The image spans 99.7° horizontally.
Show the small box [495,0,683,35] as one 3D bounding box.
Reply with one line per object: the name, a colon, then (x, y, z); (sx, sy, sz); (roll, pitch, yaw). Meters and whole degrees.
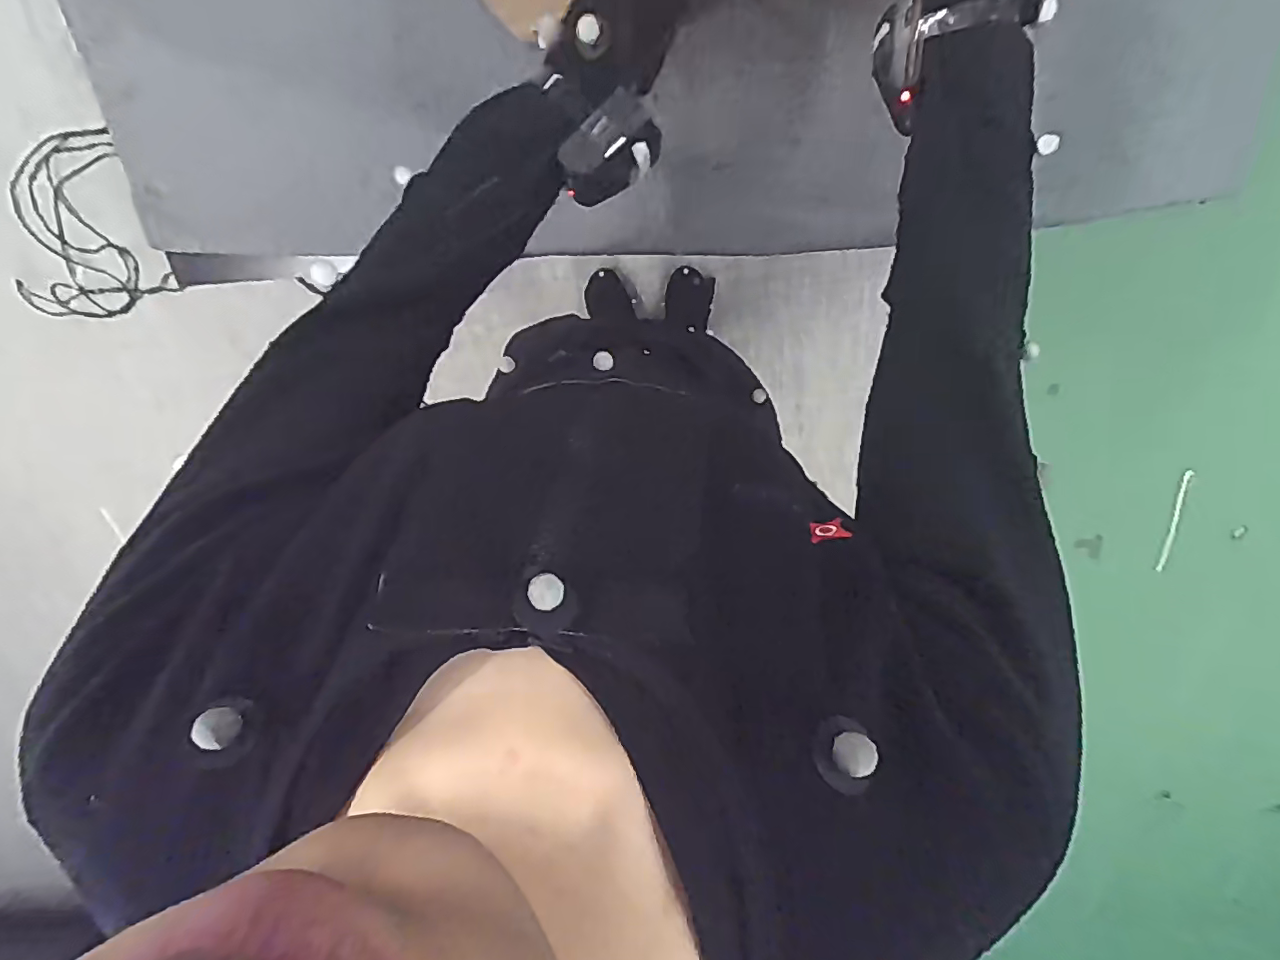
small box: (-0.049, -0.495, 0.440); (0.168, 0.176, 0.179); (-1, 113, 5)
